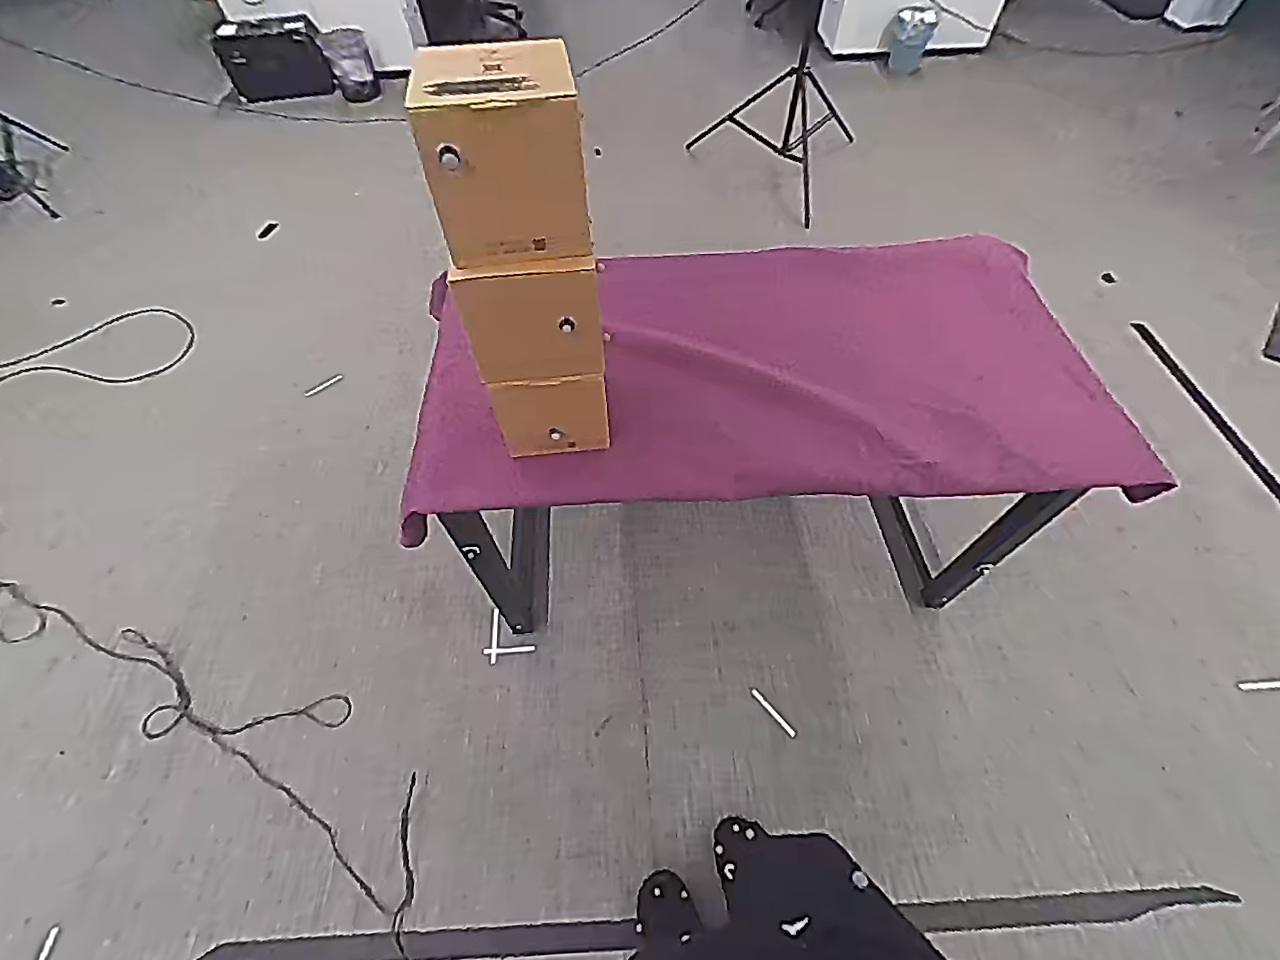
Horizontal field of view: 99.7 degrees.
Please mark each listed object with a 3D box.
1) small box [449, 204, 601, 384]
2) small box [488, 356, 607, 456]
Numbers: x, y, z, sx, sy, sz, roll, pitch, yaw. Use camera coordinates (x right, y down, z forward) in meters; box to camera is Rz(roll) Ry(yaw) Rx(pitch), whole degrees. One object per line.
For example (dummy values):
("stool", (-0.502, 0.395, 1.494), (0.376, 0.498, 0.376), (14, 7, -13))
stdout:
("small box", (-0.147, -0.253, 0.750), (0.179, 0.176, 0.168), (-7, 54, -3))
("small box", (-0.143, -0.162, 0.884), (0.168, 0.176, 0.179), (-6, 56, -3))
